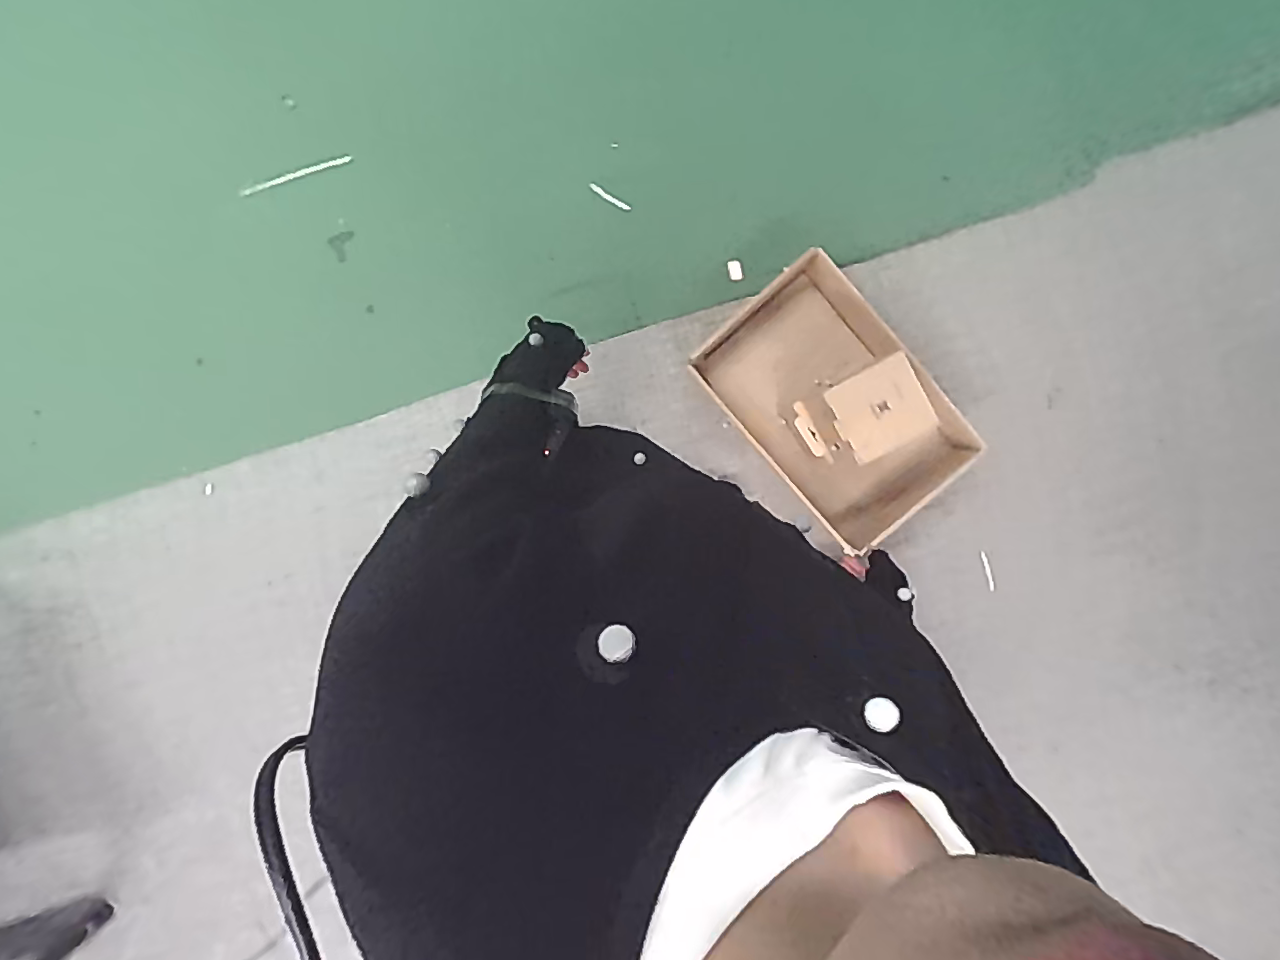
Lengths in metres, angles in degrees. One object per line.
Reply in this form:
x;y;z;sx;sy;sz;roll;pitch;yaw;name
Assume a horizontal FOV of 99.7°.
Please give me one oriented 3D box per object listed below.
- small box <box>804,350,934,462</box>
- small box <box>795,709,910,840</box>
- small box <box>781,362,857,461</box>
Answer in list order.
0.468;-0.149;1.143;0.179;0.176;0.168;-29;93;2;small box
0.427;0.591;1.111;0.168;0.176;0.179;-10;94;4;small box
0.459;-0.158;1.305;0.179;0.176;0.168;-33;92;3;small box
